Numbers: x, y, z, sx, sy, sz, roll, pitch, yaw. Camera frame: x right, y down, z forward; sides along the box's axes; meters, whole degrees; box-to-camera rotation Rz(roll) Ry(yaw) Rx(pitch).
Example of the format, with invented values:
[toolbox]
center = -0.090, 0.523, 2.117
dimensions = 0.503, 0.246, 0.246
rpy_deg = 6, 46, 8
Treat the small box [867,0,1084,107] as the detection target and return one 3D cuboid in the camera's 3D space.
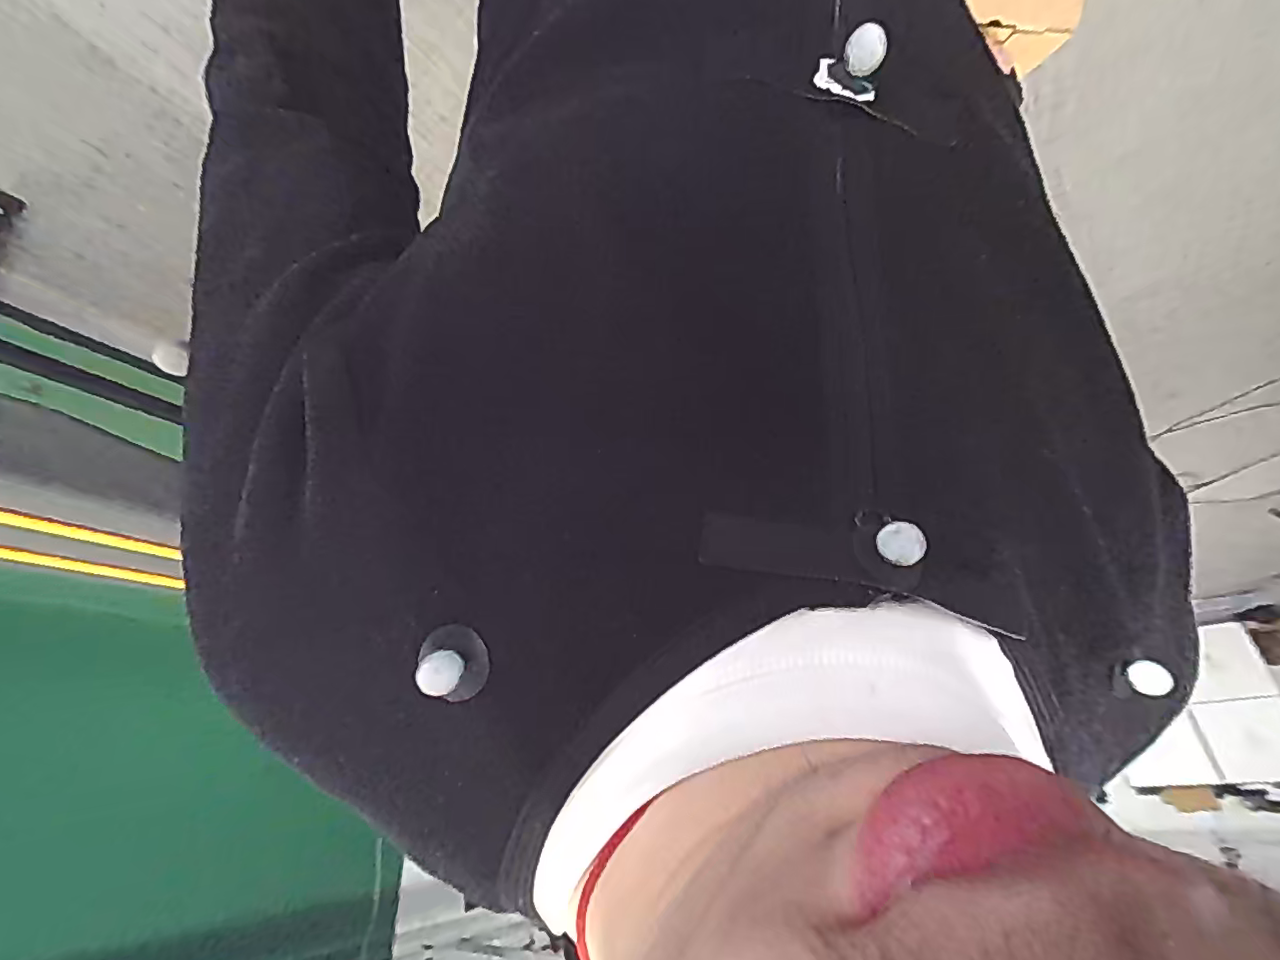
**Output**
[small box]
center = 0.371, -0.554, 0.613
dimensions = 0.168, 0.179, 0.176
rpy_deg = 3, -170, 4
